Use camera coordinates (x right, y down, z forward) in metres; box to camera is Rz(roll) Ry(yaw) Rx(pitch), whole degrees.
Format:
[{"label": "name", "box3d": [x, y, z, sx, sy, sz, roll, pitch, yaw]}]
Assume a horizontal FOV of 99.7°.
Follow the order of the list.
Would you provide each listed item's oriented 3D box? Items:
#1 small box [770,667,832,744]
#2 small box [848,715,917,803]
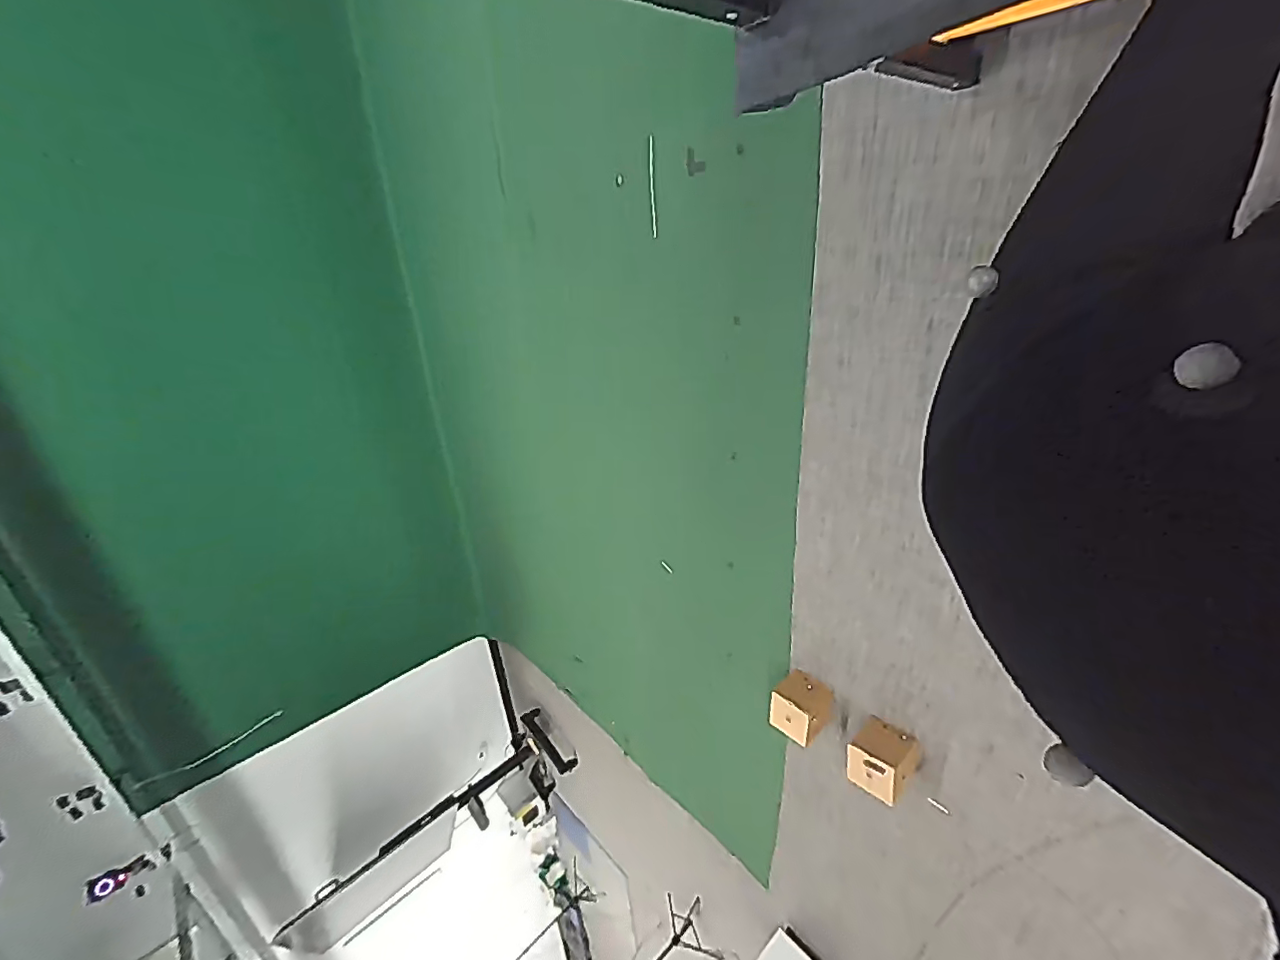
[{"label": "small box", "box3d": [0.629, 0.873, 2.105, 0.168, 0.176, 0.179, 23, 125, 43]}, {"label": "small box", "box3d": [0.845, 0.960, 1.881, 0.168, 0.176, 0.179, 17, 122, 46]}]
